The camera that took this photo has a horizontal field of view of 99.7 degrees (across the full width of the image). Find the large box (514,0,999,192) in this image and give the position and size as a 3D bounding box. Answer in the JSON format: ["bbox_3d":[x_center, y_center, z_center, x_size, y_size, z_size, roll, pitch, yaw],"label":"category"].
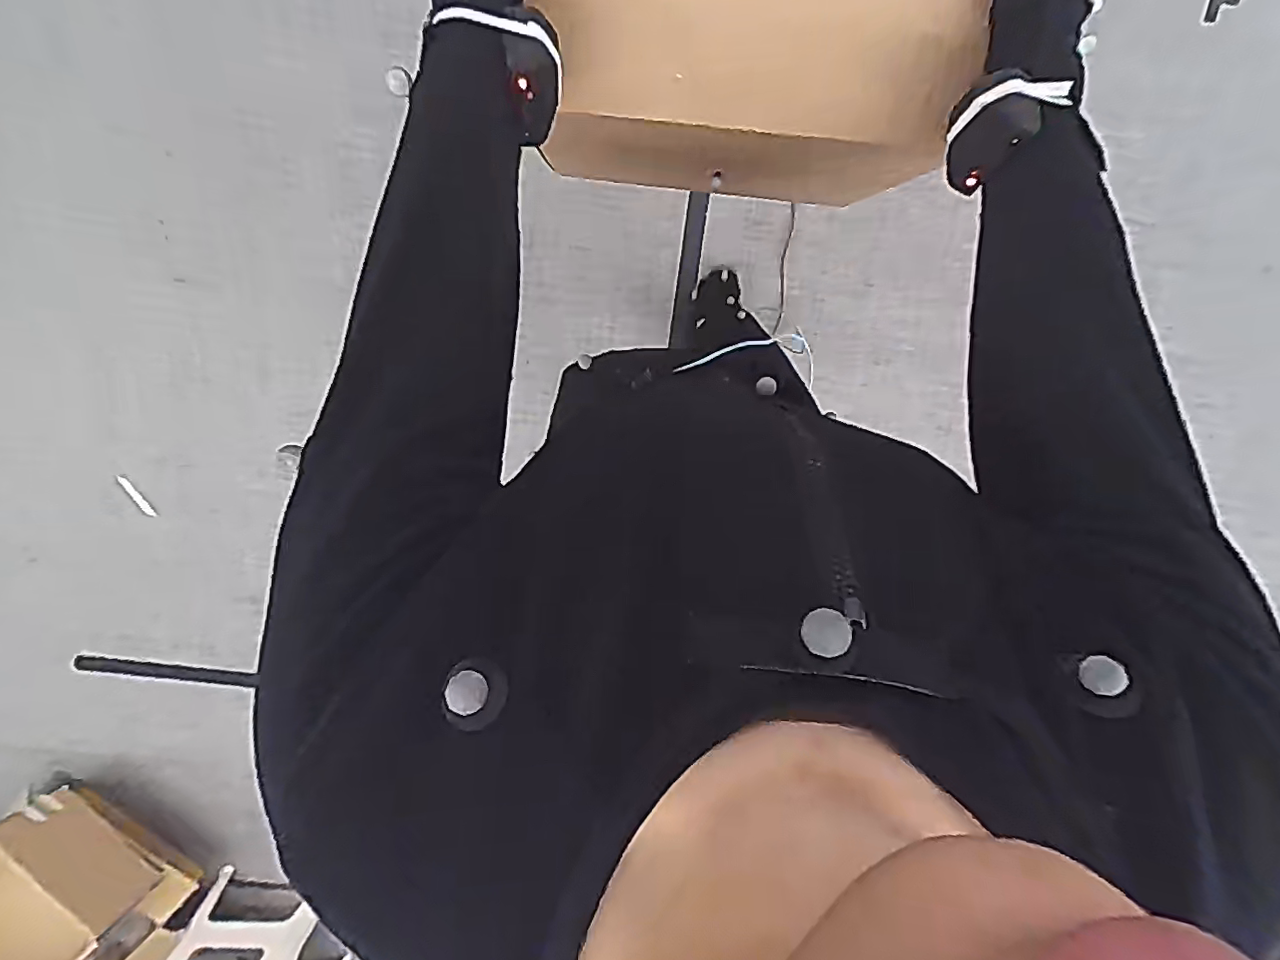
[{"bbox_3d":[0.103,-0.505,0.559,0.408,0.320,0.320,5,108,-2],"label":"large box"}]
